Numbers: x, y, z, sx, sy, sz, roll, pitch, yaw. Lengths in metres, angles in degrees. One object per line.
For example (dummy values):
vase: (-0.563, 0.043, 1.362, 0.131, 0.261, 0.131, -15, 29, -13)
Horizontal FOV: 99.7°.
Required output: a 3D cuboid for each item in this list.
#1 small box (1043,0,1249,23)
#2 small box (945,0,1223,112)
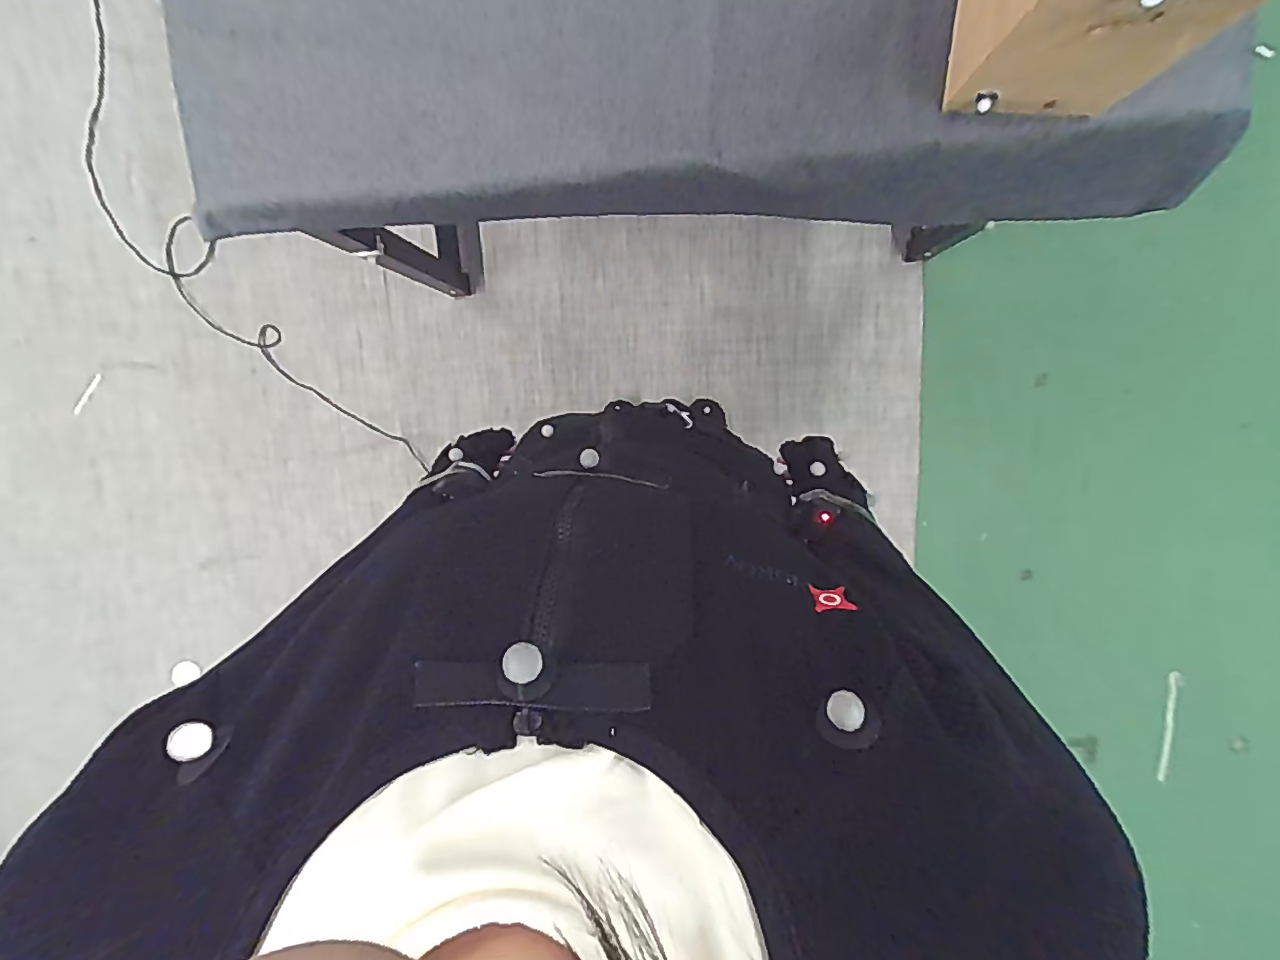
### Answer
small box: (0.403, -0.455, 0.352, 0.168, 0.176, 0.179, 6, 100, 5)
small box: (0.417, -0.483, 0.511, 0.168, 0.176, 0.179, 5, 98, 3)
